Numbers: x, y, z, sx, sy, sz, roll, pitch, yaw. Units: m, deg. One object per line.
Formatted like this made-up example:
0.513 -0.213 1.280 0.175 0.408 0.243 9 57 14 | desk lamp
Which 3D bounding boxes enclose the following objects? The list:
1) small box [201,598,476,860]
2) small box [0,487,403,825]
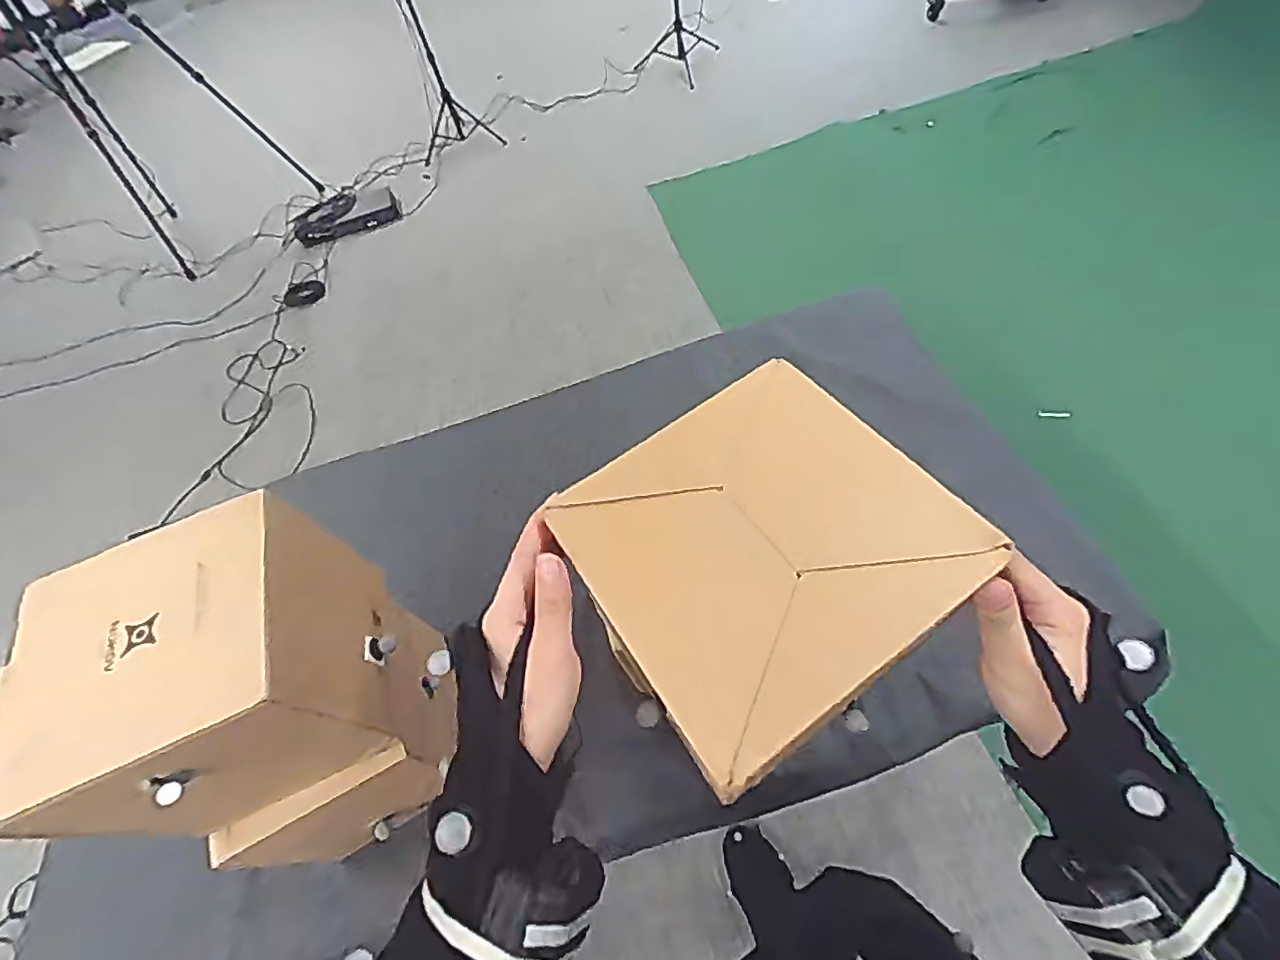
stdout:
-0.289 0.242 0.538 0.168 0.176 0.179 -27 58 -8 | small box
-0.314 0.141 0.412 0.179 0.176 0.168 -24 58 -7 | small box
